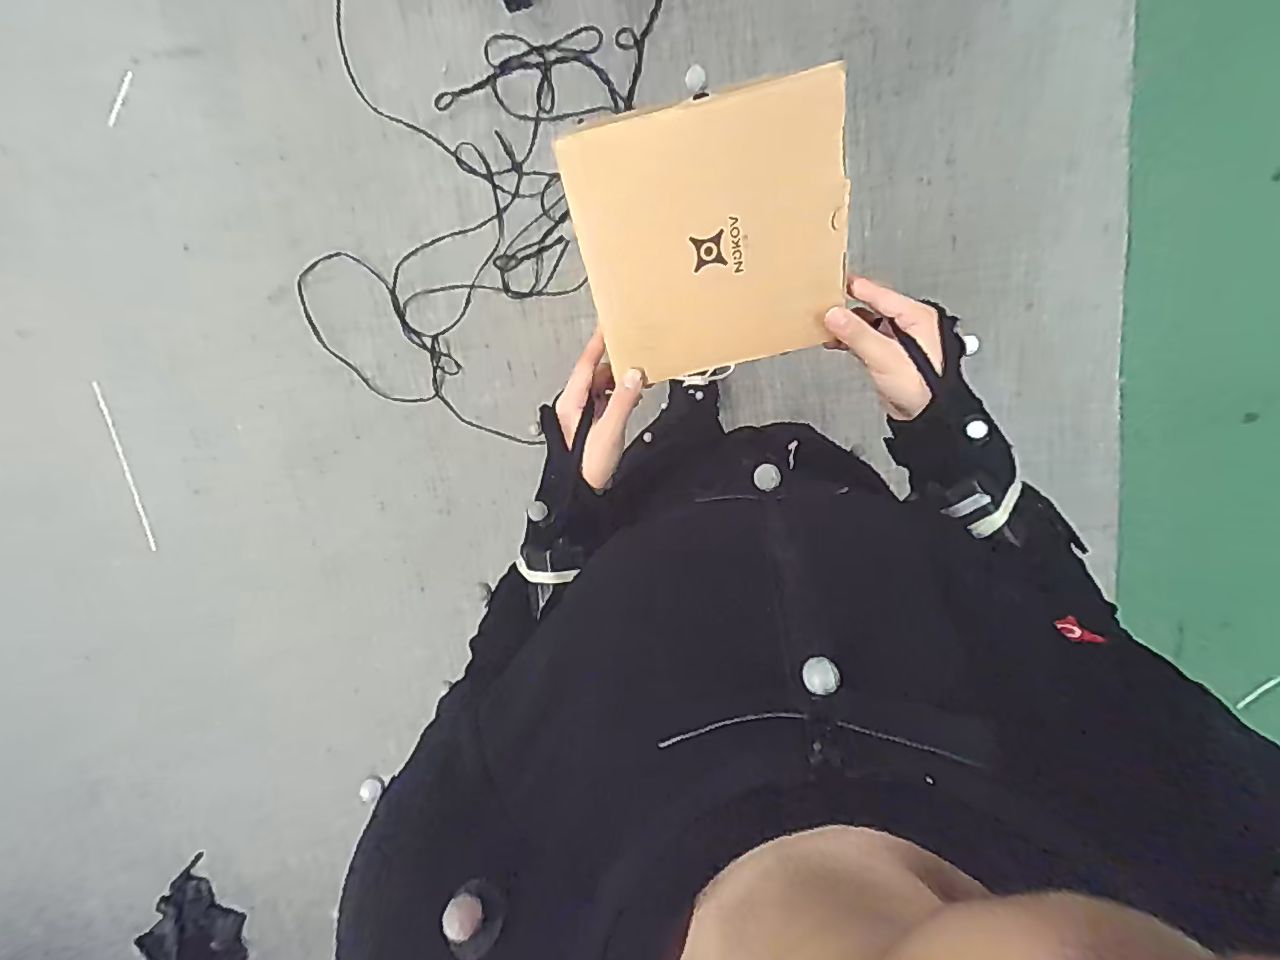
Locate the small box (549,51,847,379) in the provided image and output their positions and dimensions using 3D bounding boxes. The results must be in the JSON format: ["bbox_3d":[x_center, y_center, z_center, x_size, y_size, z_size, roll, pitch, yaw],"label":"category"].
[{"bbox_3d":[0.043,-0.201,0.420,0.179,0.176,0.168,-13,124,4],"label":"small box"}]
